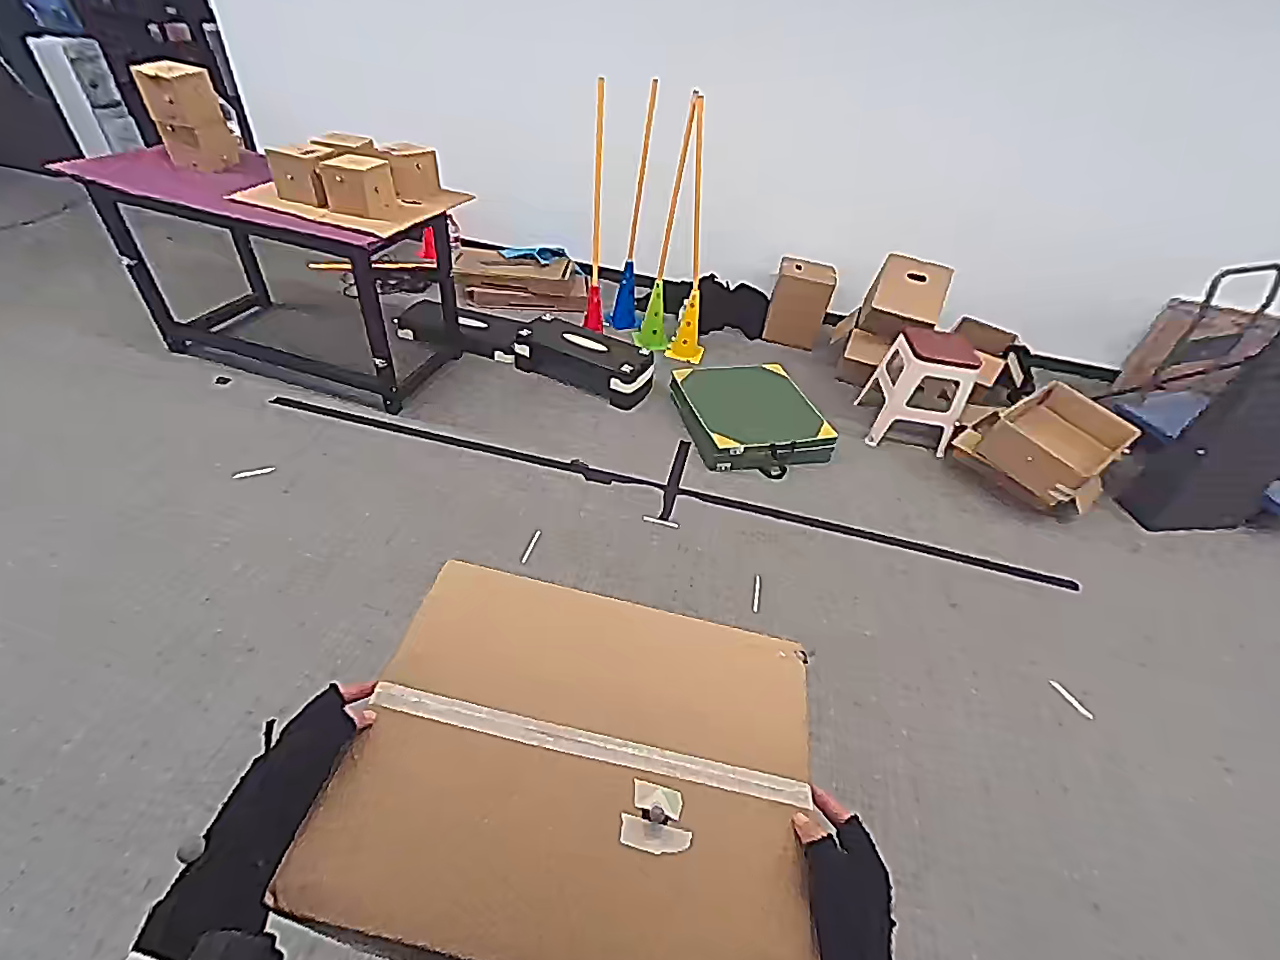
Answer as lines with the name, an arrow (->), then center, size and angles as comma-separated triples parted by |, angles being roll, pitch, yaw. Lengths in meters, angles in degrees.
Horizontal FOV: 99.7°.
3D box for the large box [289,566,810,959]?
large box -> -0.069, 0.346, 0.604 | 0.408, 0.320, 0.320 | 14, 45, 0
